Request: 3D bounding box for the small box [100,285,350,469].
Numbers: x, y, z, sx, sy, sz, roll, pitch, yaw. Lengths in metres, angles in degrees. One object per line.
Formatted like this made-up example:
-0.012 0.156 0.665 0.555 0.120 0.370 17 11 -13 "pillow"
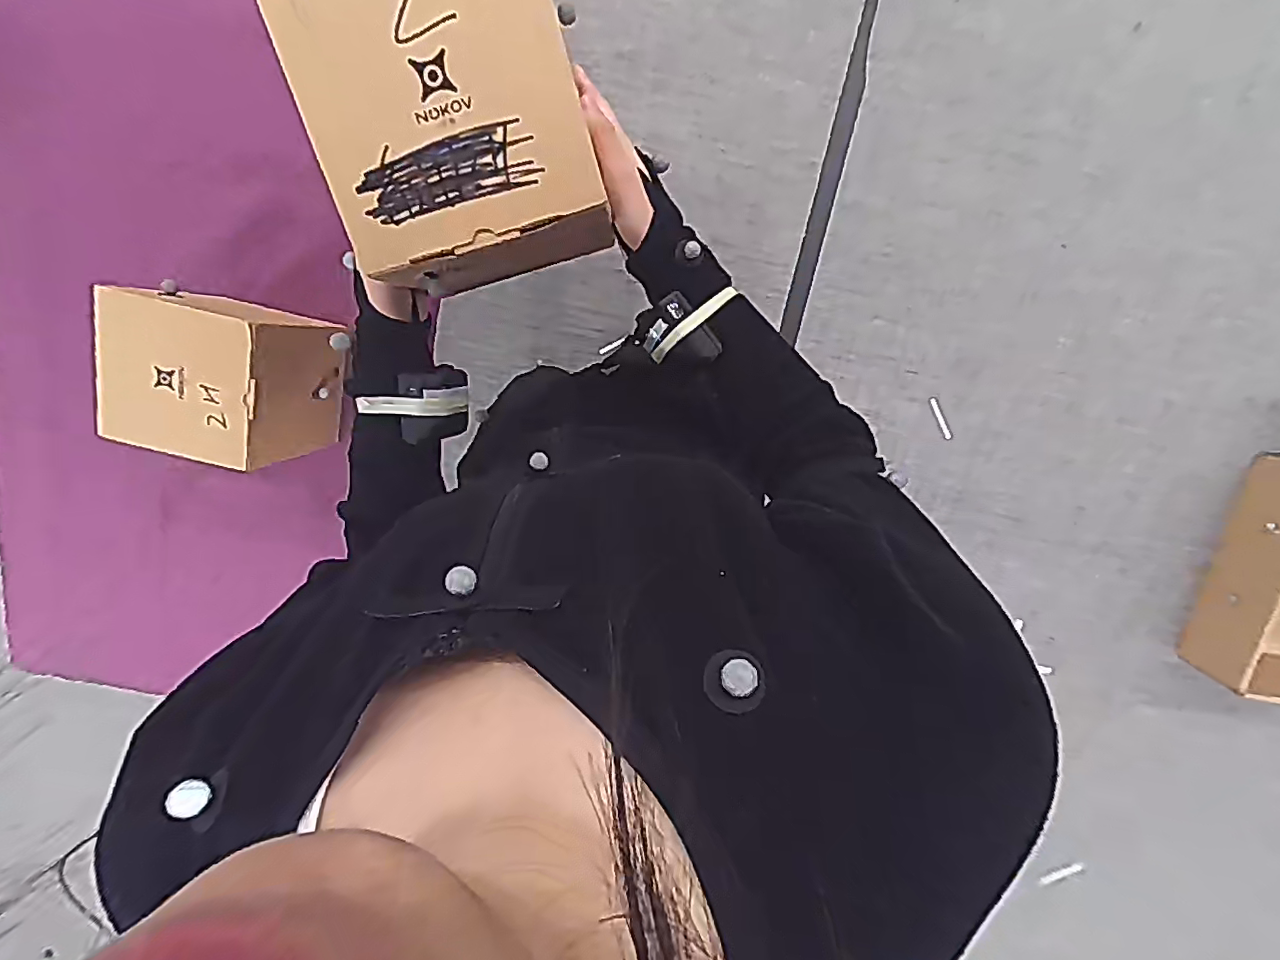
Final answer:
-0.492 -0.126 0.659 0.179 0.176 0.168 13 105 0 "small box"
